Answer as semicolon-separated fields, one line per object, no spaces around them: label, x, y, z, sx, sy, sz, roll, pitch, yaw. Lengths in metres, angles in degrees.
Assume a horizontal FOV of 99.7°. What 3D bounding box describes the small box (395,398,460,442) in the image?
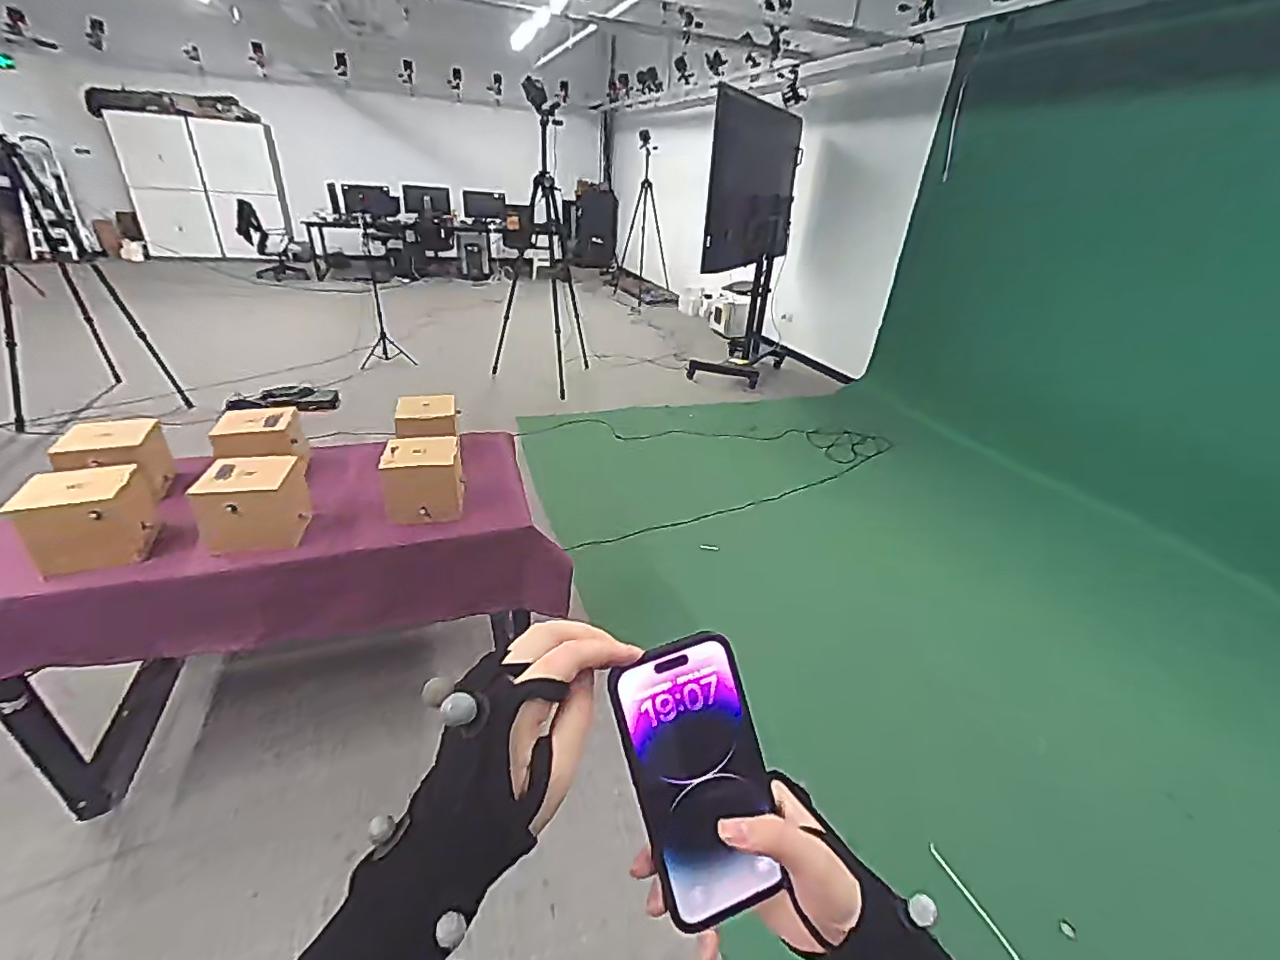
small box;-0.650;-0.142;1.674;0.168;0.176;0.179;-5;31;-16

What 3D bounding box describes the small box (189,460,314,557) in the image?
small box;-0.896;0.066;1.267;0.179;0.176;0.168;-3;30;-14

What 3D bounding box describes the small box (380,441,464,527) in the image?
small box;-0.560;0.009;1.414;0.179;0.176;0.168;-3;29;-13

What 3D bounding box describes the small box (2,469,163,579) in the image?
small box;-1.195;0.095;1.178;0.179;0.176;0.168;-9;31;-25
